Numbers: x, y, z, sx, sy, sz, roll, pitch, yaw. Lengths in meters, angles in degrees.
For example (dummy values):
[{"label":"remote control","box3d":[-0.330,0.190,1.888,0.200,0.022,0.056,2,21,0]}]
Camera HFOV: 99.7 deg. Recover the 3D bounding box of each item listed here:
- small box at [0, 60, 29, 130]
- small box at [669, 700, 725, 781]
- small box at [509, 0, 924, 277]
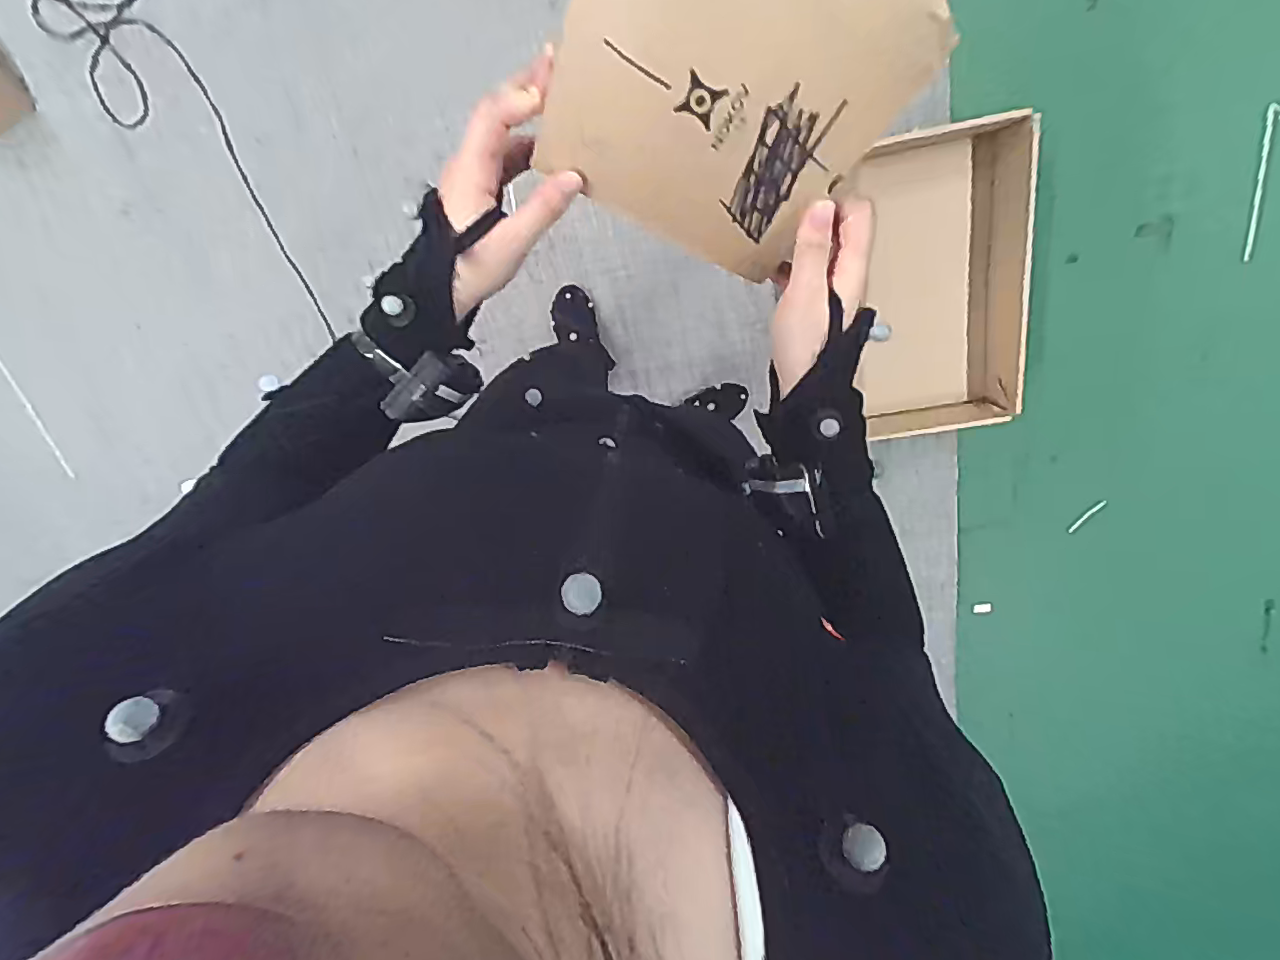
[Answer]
[{"label":"small box","box3d":[-1.524,-0.870,1.174,0.179,0.176,0.168,-19,109,9]},{"label":"small box","box3d":[0.178,0.837,1.749,0.168,0.176,0.179,1,111,3]},{"label":"small box","box3d":[0.035,-0.269,0.333,0.179,0.176,0.168,16,150,-17]}]
